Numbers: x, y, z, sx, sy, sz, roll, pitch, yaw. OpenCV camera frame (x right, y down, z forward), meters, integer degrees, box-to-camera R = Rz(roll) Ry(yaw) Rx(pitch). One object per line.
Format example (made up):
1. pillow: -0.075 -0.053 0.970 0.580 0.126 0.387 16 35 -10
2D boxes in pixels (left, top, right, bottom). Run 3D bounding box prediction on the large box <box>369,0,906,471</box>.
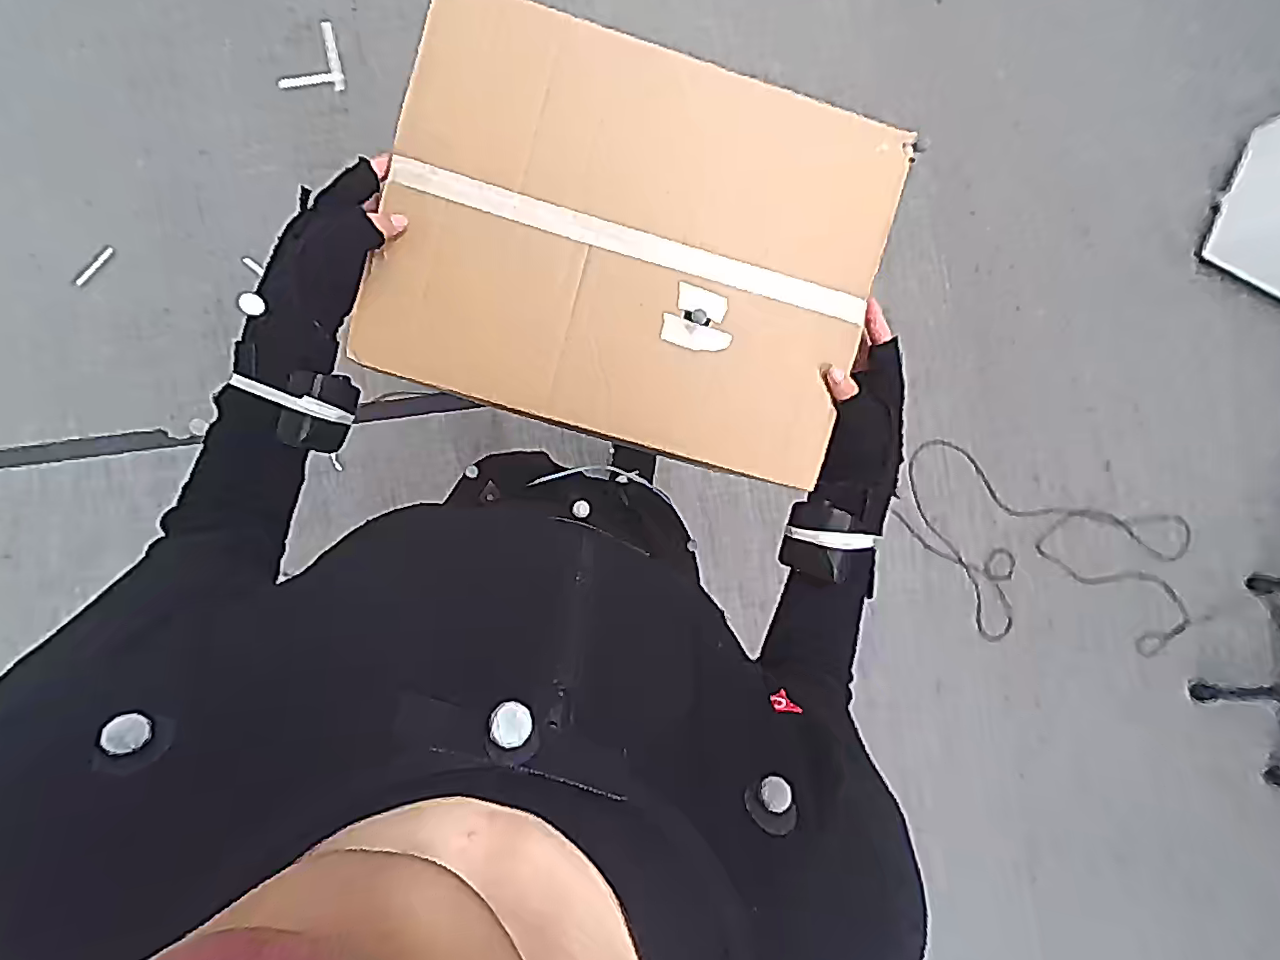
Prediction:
1. large box: -0.010 -0.212 0.605 0.408 0.320 0.320 15 94 -5
